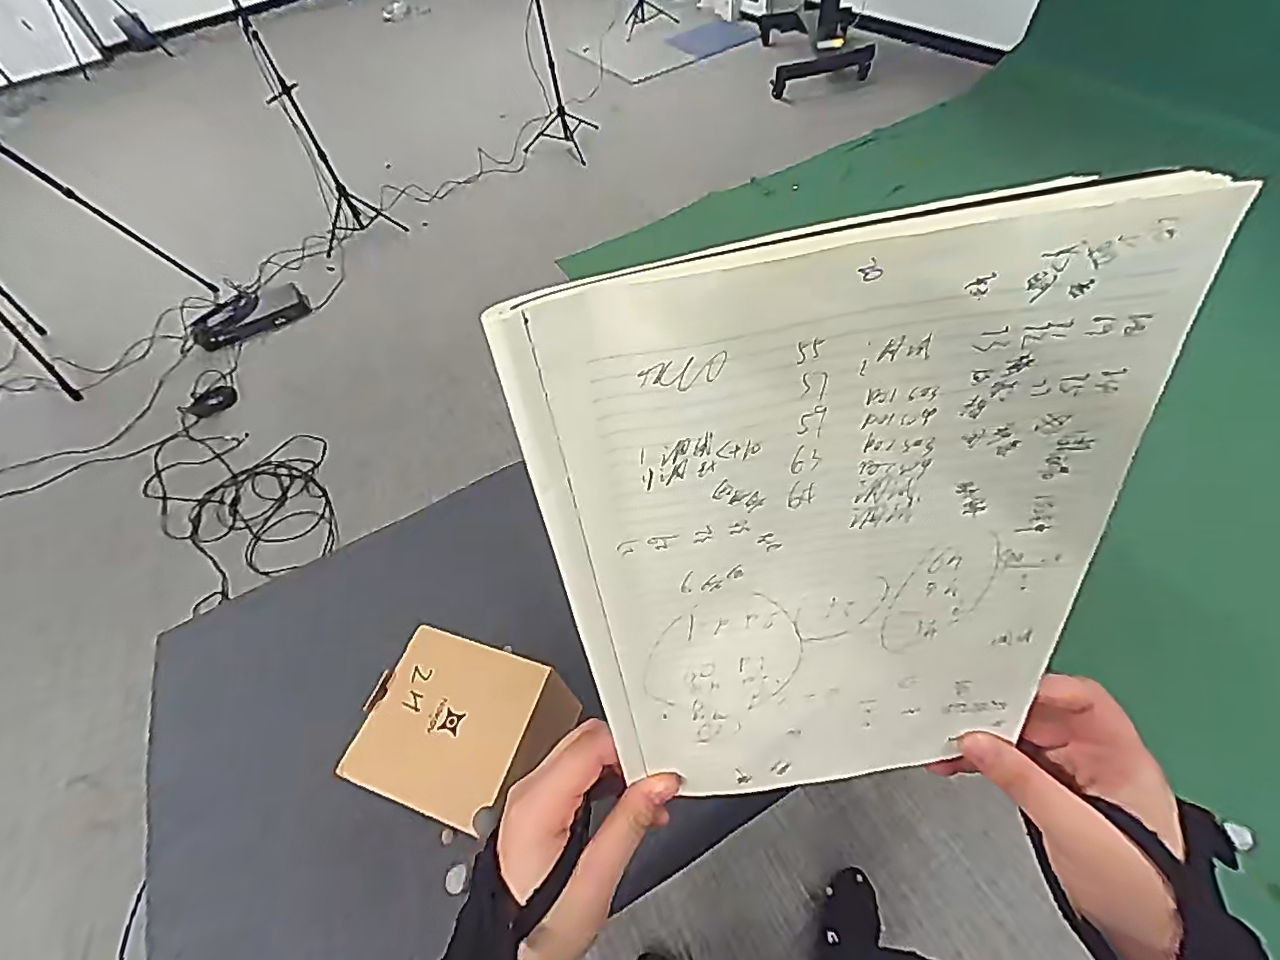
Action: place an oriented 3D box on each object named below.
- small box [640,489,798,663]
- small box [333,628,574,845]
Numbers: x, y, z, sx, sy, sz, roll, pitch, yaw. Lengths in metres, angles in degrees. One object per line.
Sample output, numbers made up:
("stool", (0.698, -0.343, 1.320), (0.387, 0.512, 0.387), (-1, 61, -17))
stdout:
("small box", (0.095, 0.130, 0.706), (0.179, 0.176, 0.168), (-5, 53, 6))
("small box", (-0.194, 0.298, 0.625), (0.179, 0.176, 0.168), (12, 56, 17))
